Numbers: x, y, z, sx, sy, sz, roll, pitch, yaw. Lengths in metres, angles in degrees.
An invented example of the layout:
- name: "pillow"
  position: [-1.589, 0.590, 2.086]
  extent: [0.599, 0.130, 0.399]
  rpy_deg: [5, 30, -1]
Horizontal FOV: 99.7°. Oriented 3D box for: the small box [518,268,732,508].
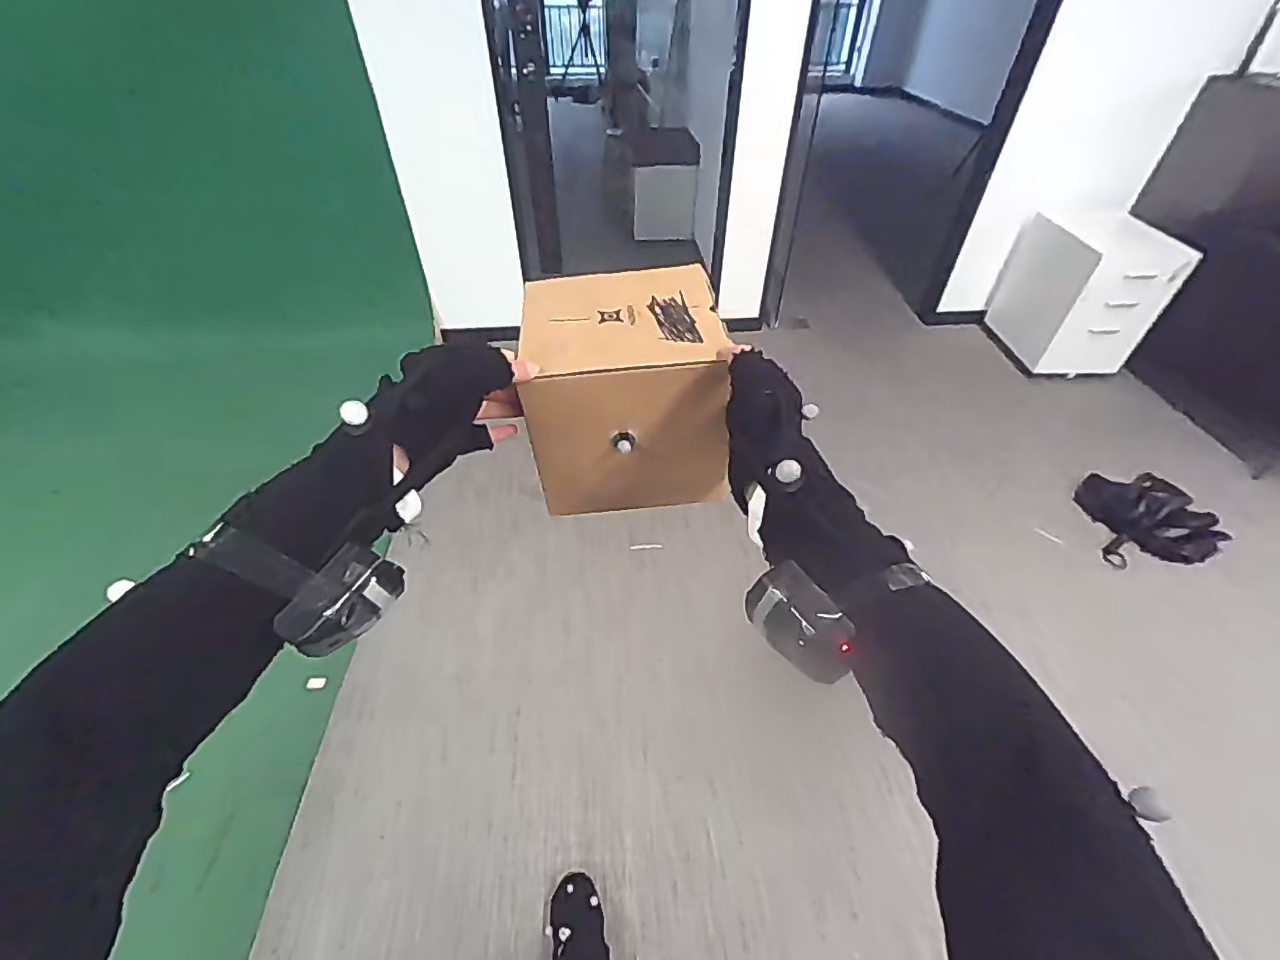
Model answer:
- name: "small box"
  position: [-0.014, -0.090, 0.545]
  extent: [0.179, 0.176, 0.168]
  rpy_deg: [-6, 45, -1]
